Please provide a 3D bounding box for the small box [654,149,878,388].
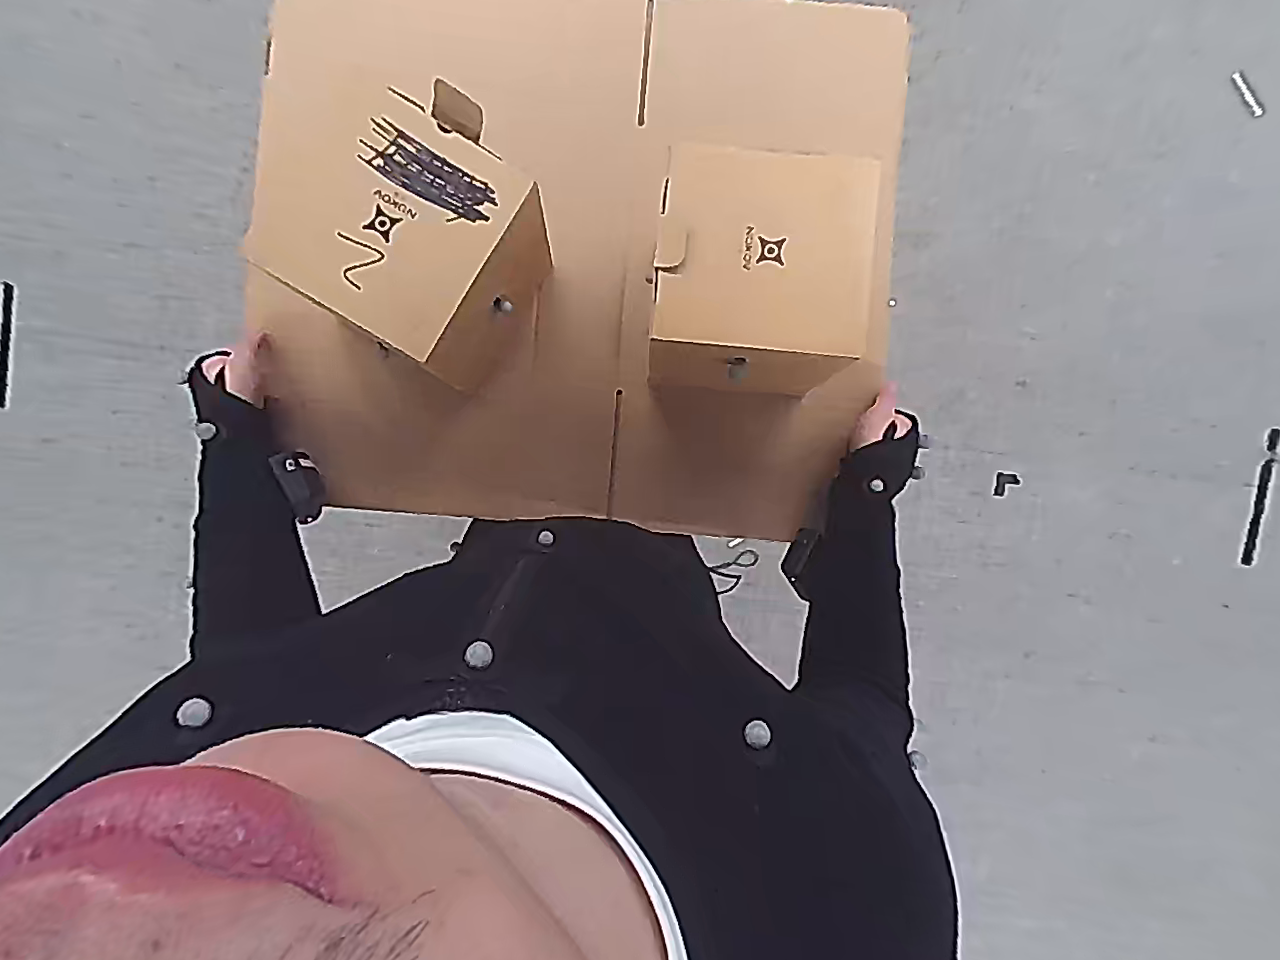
[{"bbox_3d":[0.108,-0.190,0.536,0.179,0.176,0.168,5,89,2],"label":"small box"}]
